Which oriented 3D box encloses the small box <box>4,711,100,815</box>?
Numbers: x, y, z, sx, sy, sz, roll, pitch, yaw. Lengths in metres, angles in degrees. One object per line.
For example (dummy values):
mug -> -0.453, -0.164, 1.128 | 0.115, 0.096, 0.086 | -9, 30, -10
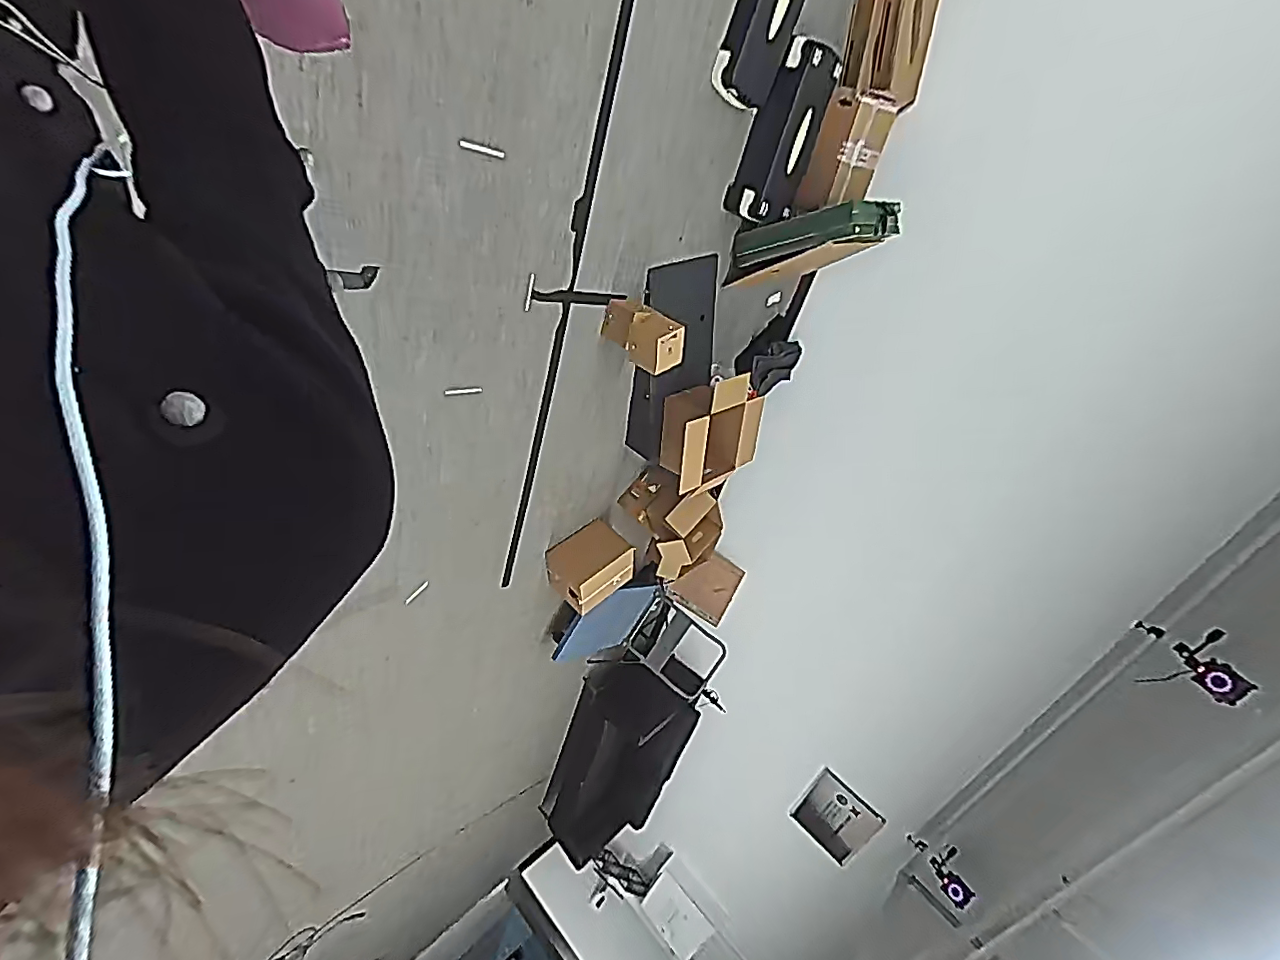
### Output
small box -> -1.746, 0.832, 1.606 | 0.179, 0.176, 0.168 | -11, 130, -53
